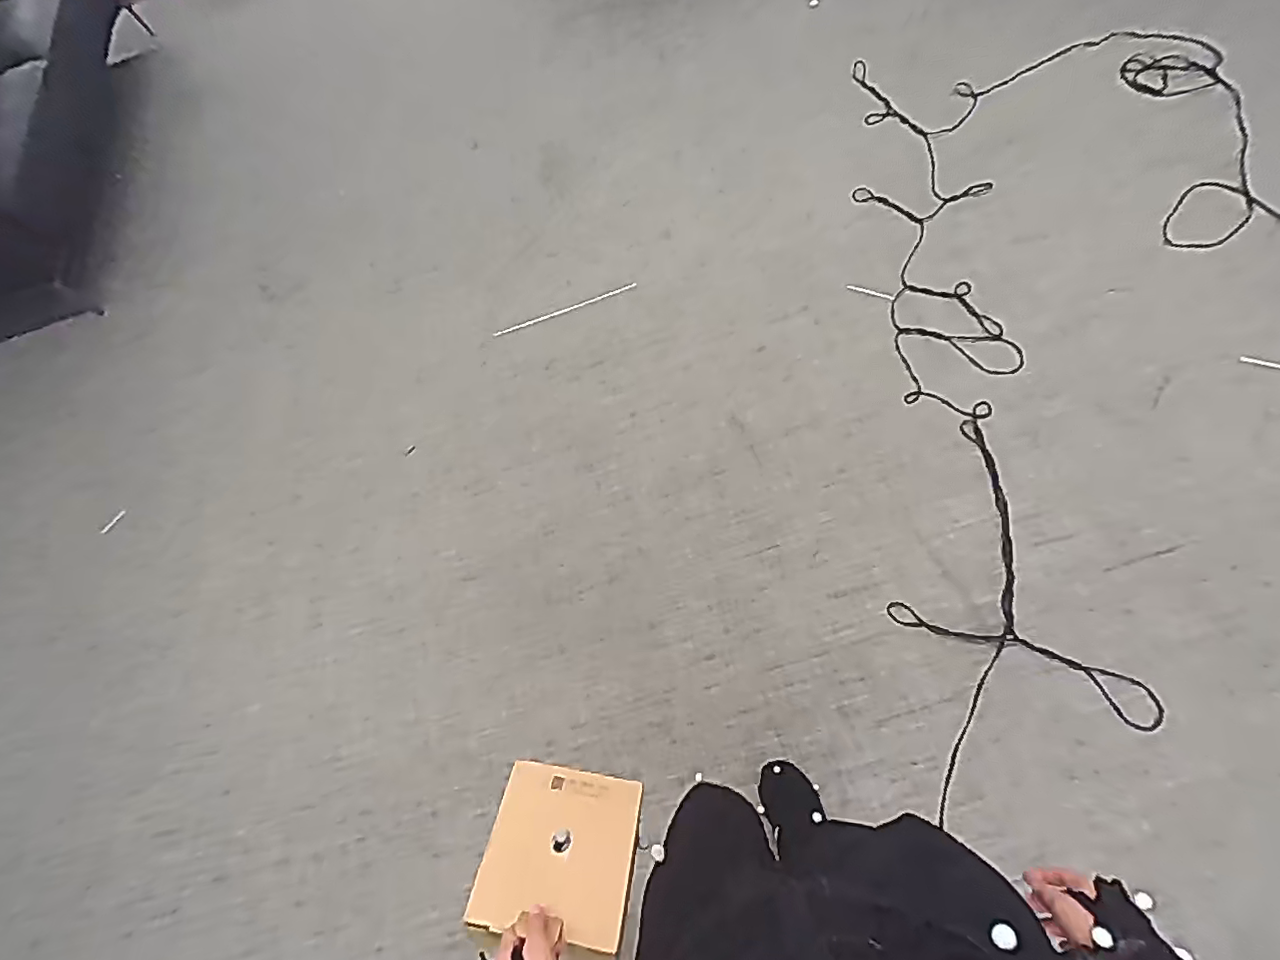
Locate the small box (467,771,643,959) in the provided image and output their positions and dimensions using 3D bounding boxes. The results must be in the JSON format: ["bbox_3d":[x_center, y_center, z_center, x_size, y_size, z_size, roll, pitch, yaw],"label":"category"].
[{"bbox_3d":[-0.091,0.486,0.662,0.168,0.179,0.176,7,38,7],"label":"small box"}]
